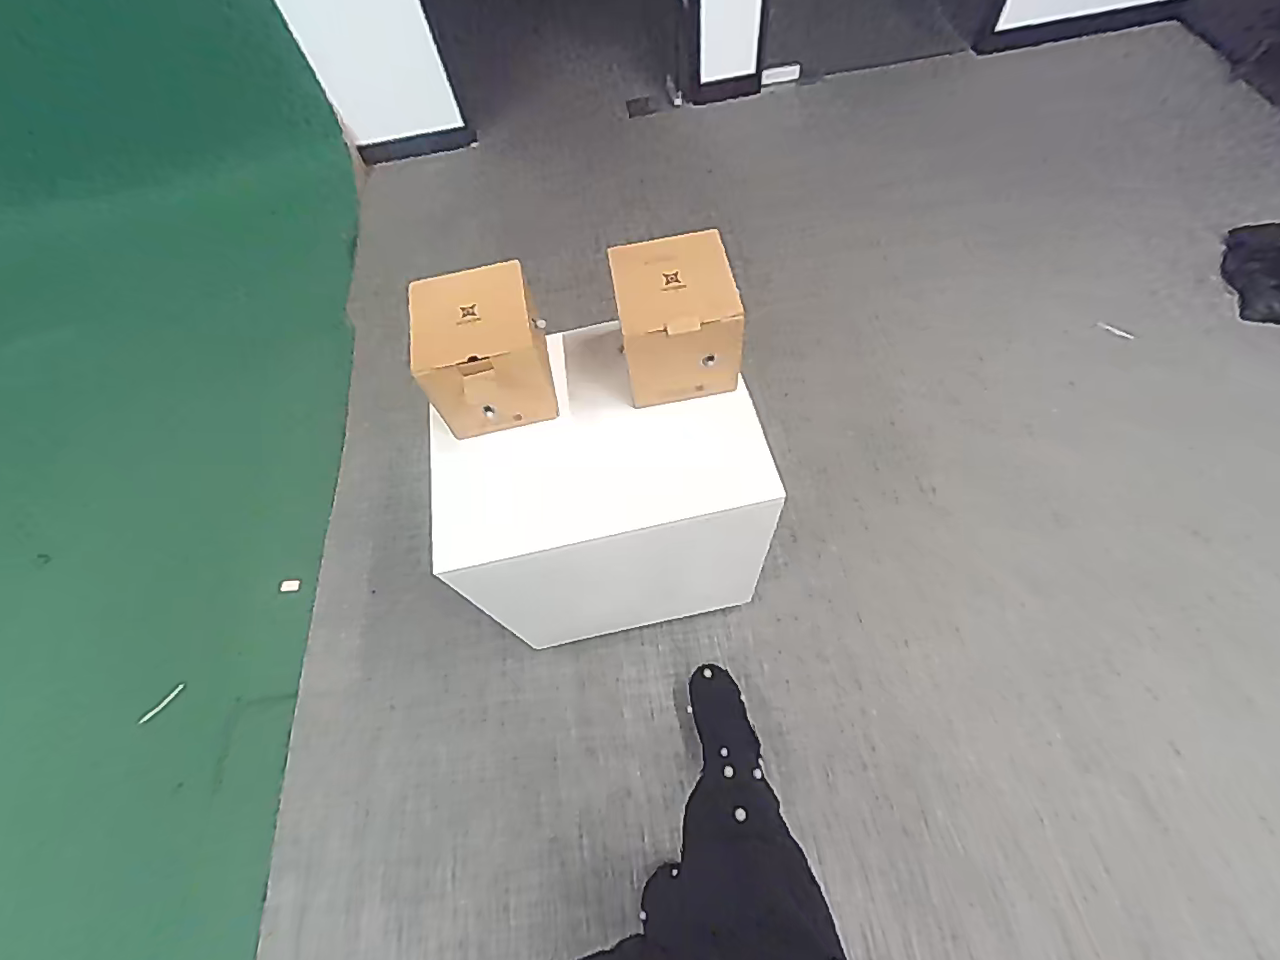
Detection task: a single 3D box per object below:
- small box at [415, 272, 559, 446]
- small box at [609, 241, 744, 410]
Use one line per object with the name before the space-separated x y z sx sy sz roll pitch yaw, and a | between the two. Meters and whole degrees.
small box | -0.228 -0.179 0.824 0.168 0.176 0.179 -13 62 -2
small box | 0.054 -0.222 0.818 0.168 0.176 0.179 -10 61 0
